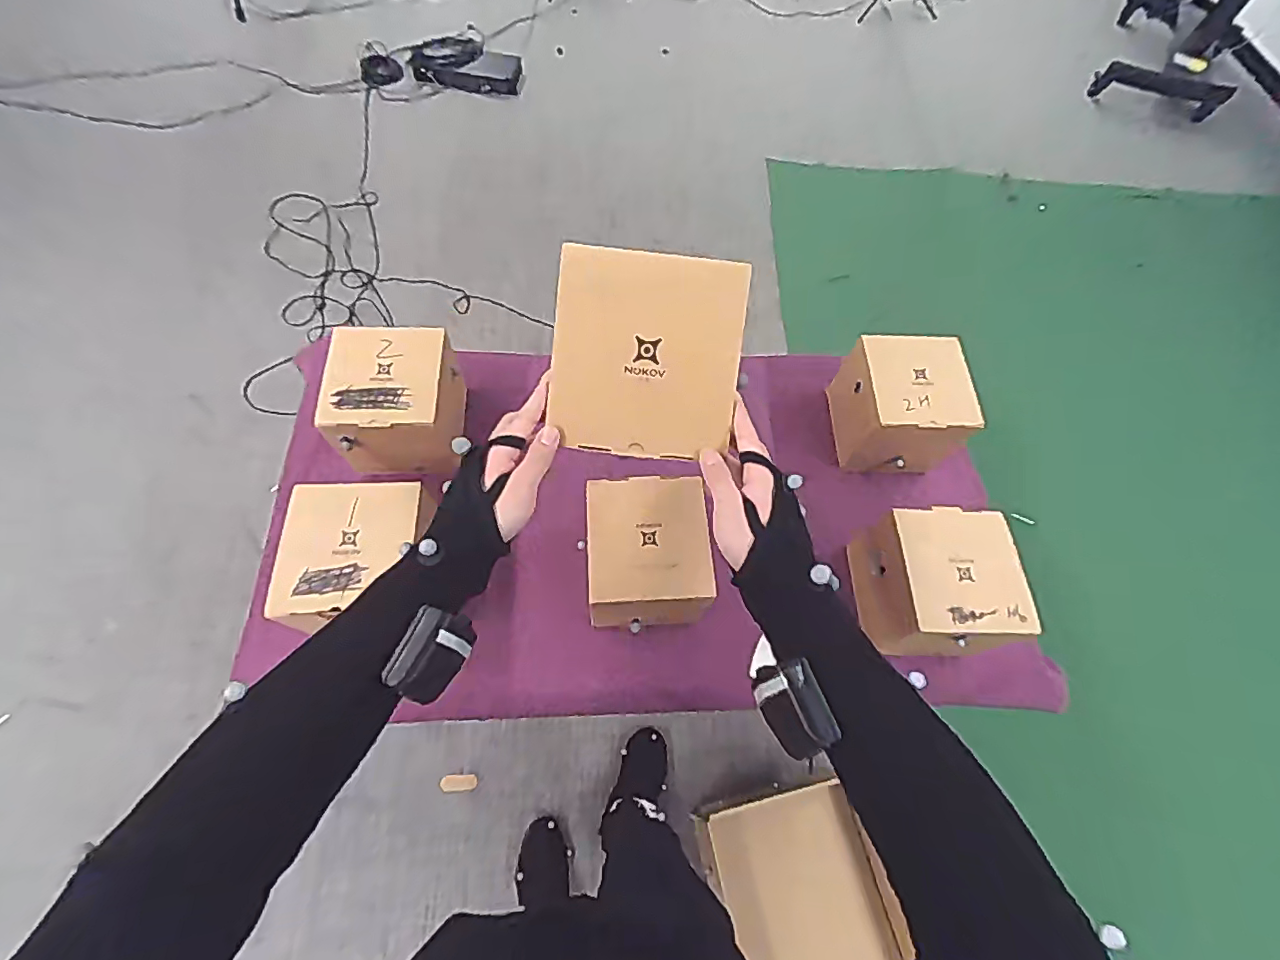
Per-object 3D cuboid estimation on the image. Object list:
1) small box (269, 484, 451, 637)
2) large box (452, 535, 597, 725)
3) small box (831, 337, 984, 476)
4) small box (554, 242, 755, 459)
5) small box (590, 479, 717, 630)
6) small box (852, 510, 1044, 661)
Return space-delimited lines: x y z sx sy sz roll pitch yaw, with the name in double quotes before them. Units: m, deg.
"small box" -0.373 0.119 0.760 0.168 0.176 0.179 -1 63 -5
"large box" -0.273 0.387 1.376 0.320 0.320 0.408 -1 63 -6
"small box" 0.447 -0.123 0.938 0.168 0.176 0.179 1 65 -1
"small box" 0.010 -0.121 0.559 0.168 0.176 0.179 6 97 -1
"small box" 0.010 0.113 0.794 0.168 0.176 0.179 -1 64 -4
"small box" 0.434 0.160 0.800 0.168 0.176 0.179 1 61 -2
